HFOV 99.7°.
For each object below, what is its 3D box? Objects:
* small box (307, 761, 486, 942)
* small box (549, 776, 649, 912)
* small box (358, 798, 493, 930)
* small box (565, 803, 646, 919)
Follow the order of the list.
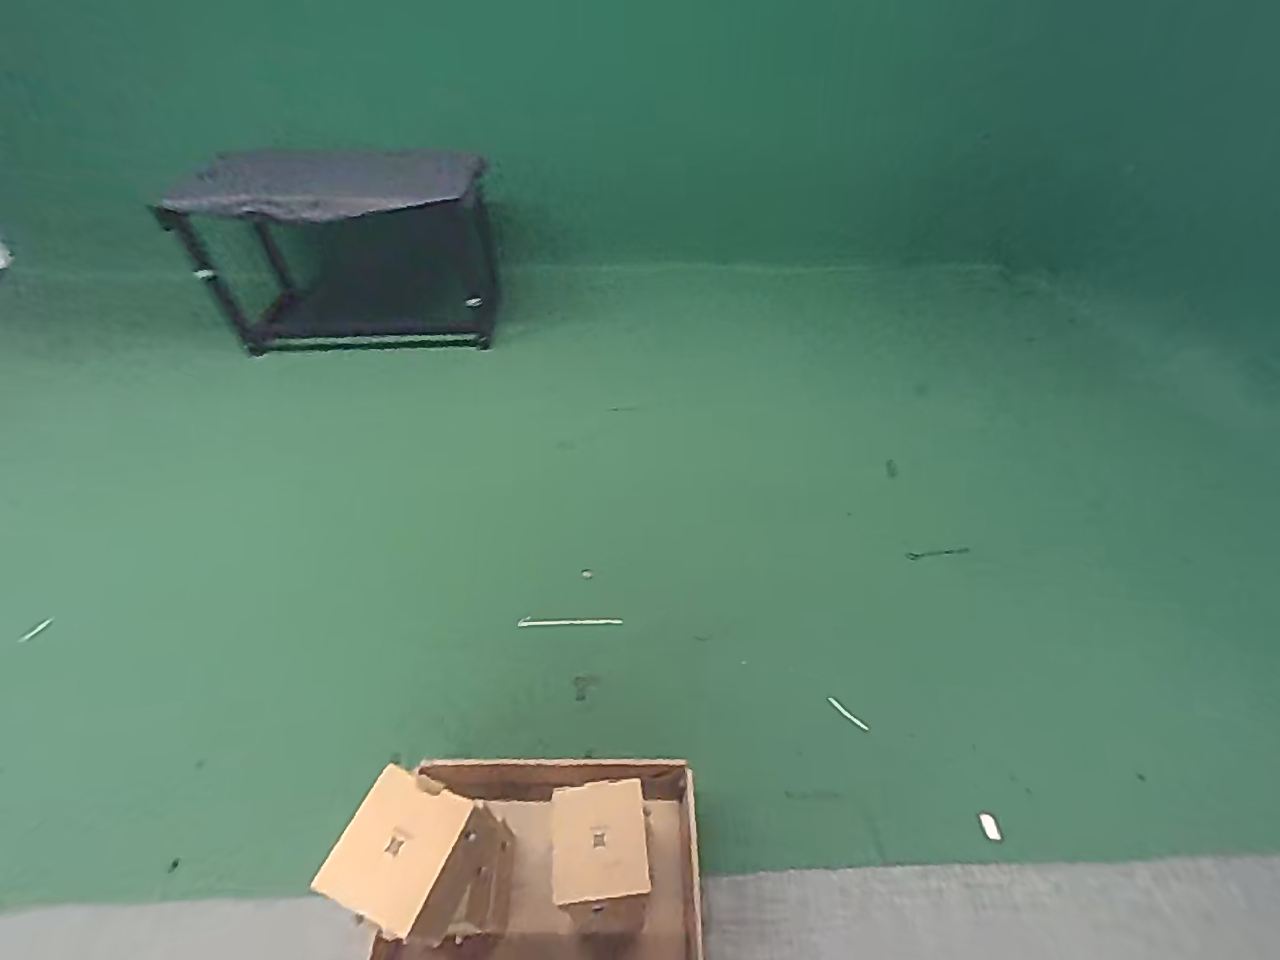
[{"bbox_3d":[-0.363,0.585,0.849,0.168,0.176,0.179,16,47,13],"label":"small box"},{"bbox_3d":[-0.075,0.672,0.999,0.168,0.176,0.179,-6,48,-3],"label":"small box"},{"bbox_3d":[-0.369,0.693,0.971,0.168,0.176,0.179,0,45,-2],"label":"small box"},{"bbox_3d":[-0.074,0.784,1.119,0.168,0.176,0.179,2,46,2],"label":"small box"}]
